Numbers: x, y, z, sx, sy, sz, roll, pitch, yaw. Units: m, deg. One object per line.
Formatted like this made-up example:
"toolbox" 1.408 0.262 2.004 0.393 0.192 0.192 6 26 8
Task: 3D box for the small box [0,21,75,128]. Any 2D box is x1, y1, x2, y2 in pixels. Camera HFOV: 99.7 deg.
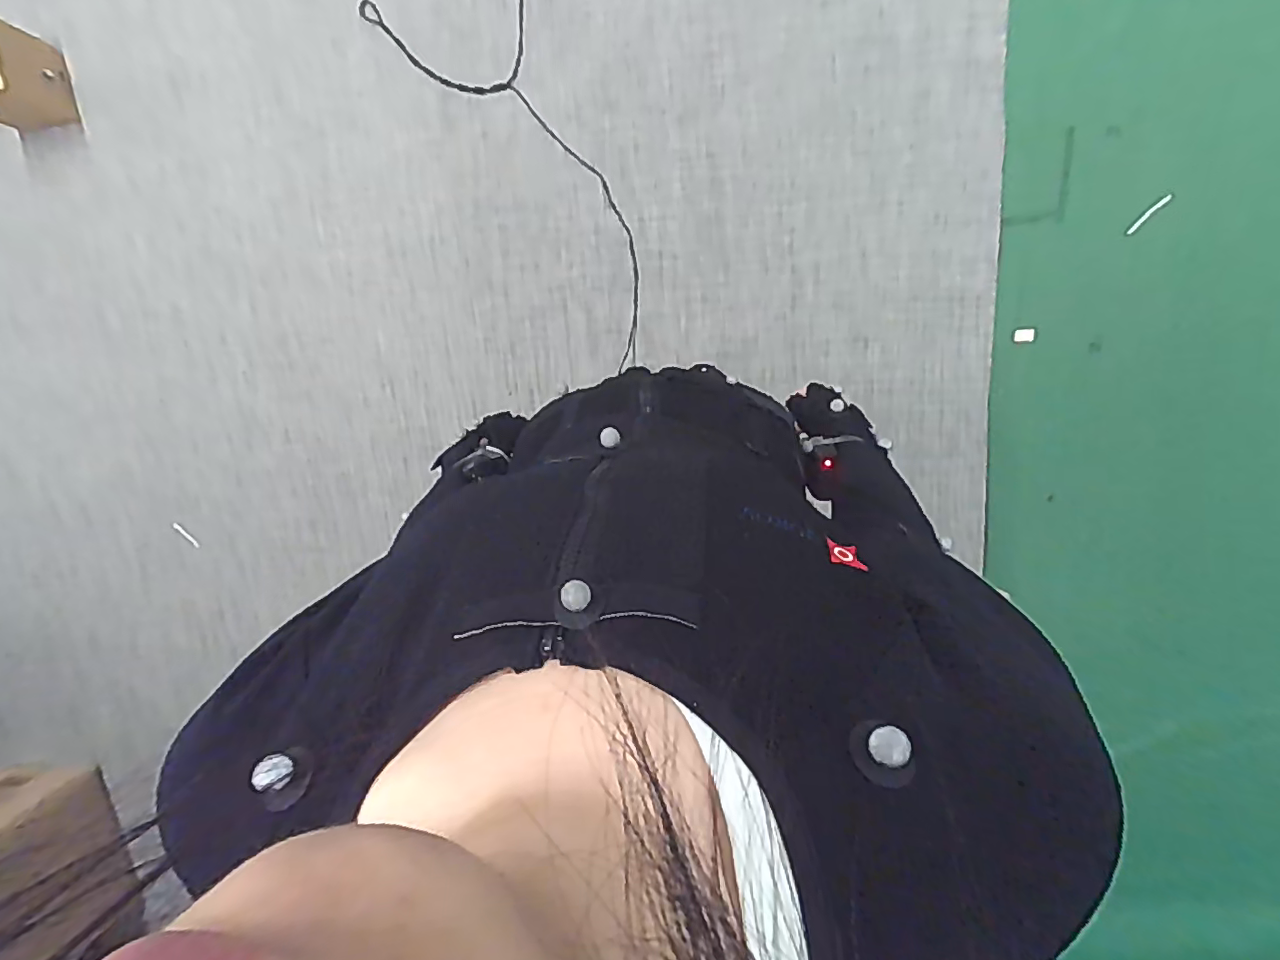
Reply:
"small box" -1.538 -0.973 1.295 0.179 0.176 0.168 -6 102 4
